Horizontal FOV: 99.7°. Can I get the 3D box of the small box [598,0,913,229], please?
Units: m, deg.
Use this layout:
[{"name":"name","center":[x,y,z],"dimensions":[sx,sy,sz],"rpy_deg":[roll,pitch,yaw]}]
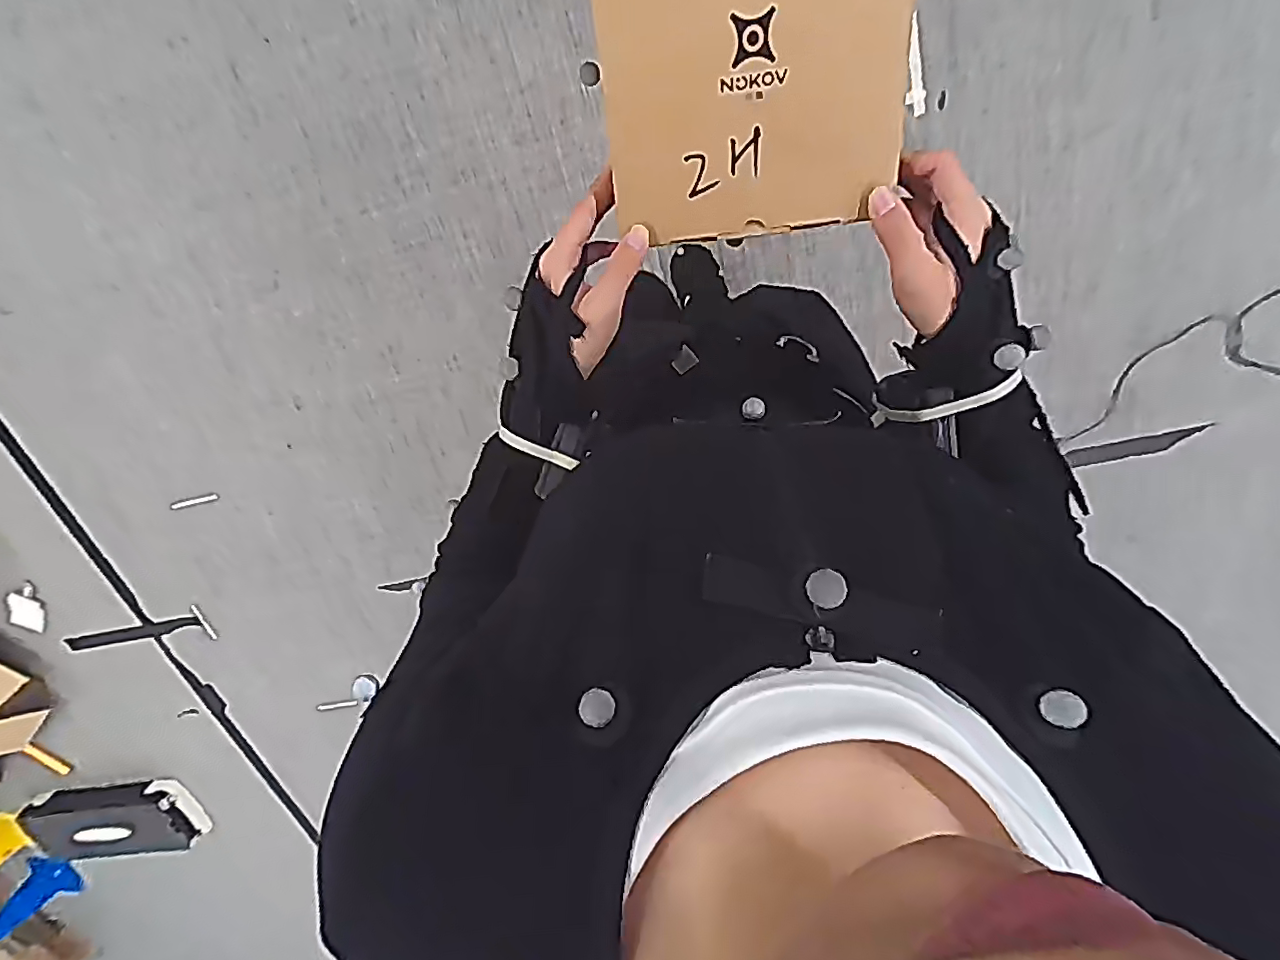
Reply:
[{"name":"small box","center":[0.064,-0.272,0.358],"dimensions":[0.168,0.176,0.179],"rpy_deg":[-4,118,6]}]
